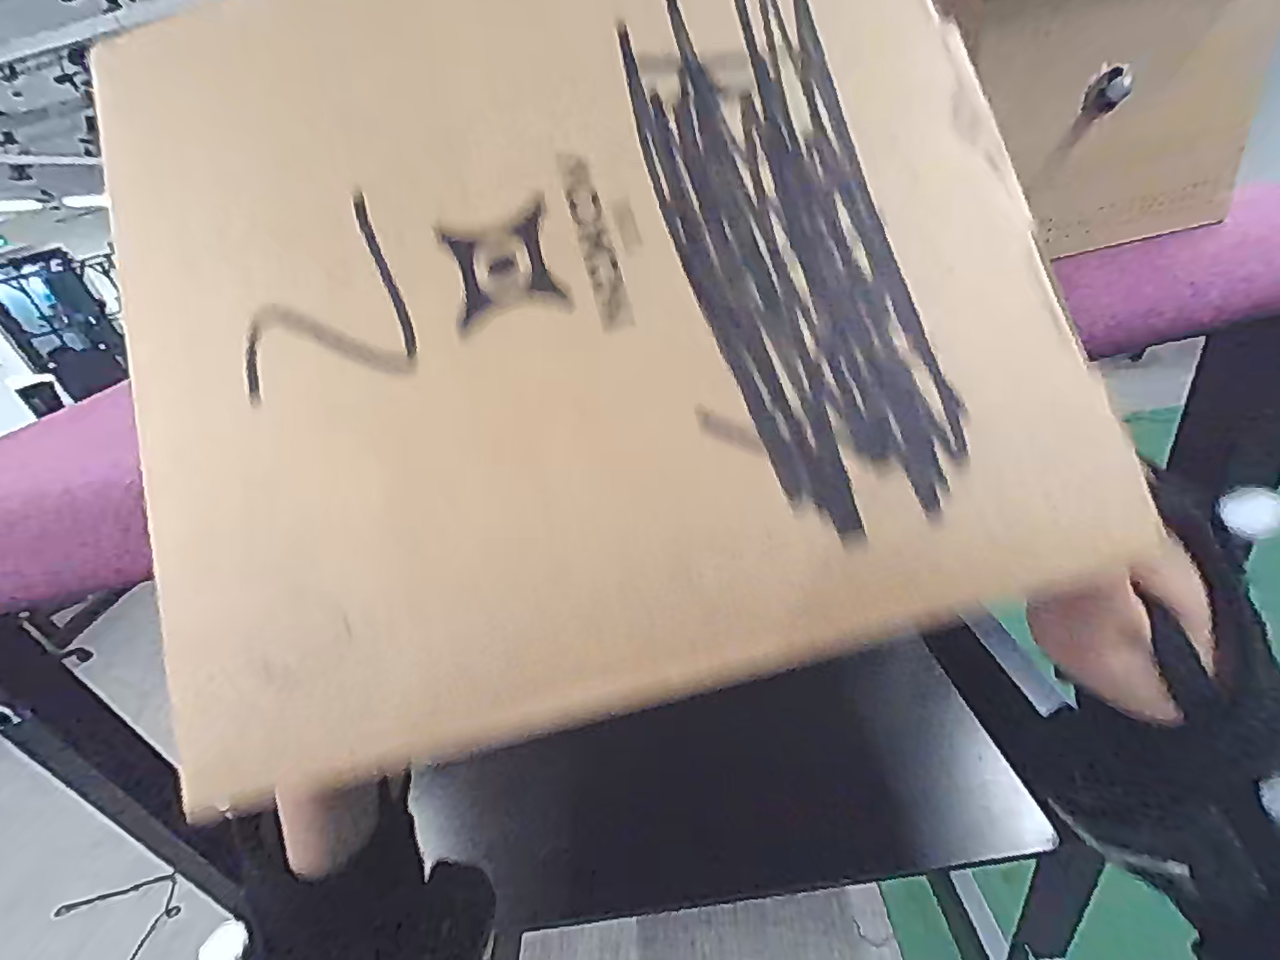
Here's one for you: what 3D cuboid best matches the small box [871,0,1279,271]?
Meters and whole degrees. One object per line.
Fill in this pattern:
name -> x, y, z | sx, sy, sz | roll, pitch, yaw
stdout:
small box -> 0.282, -0.267, 0.391 | 0.179, 0.176, 0.168 | -12, 29, 6
